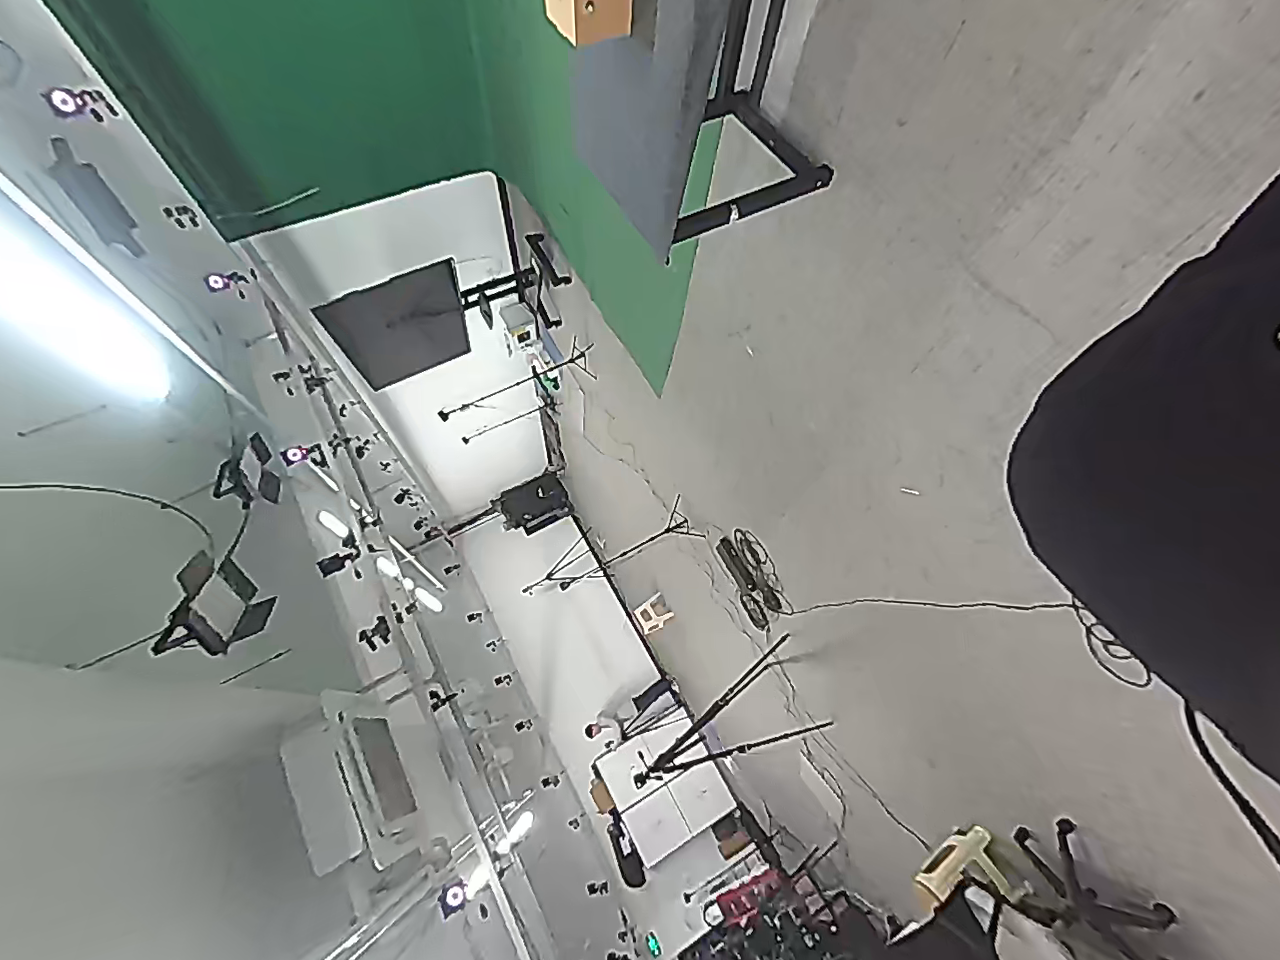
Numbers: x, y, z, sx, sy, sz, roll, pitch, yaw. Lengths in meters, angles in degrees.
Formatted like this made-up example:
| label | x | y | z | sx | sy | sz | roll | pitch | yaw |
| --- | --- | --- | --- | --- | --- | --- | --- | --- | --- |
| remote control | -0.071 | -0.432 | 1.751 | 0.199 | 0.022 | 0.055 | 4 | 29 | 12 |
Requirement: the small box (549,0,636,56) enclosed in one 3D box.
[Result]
| label | x | y | z | sx | sy | sz | roll | pitch | yaw |
| --- | --- | --- | --- | --- | --- | --- | --- | --- | --- |
| small box | -0.117 | -1.214 | 1.352 | 0.168 | 0.176 | 0.179 | 56 | 161 | 21 |
